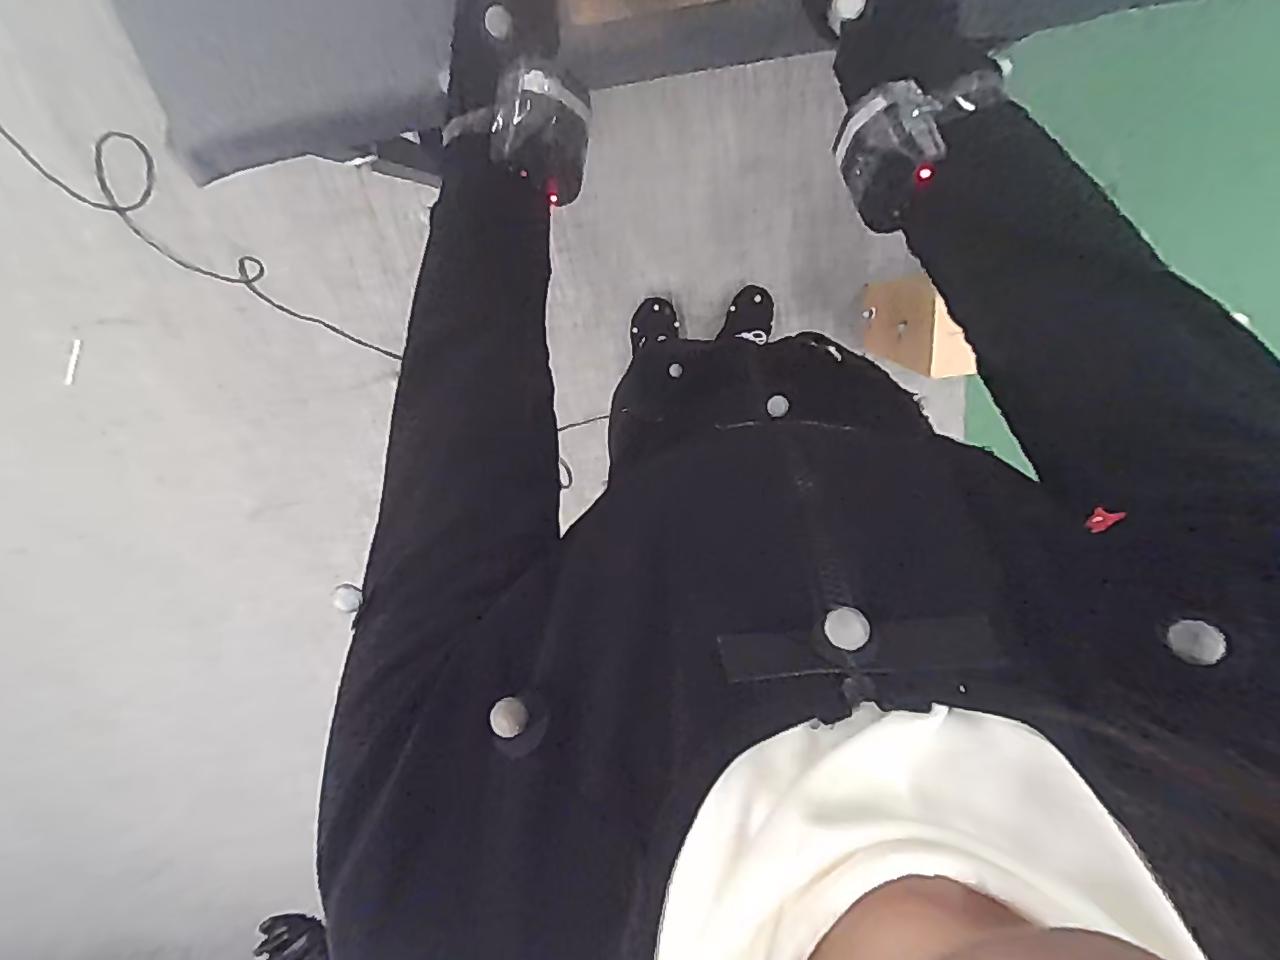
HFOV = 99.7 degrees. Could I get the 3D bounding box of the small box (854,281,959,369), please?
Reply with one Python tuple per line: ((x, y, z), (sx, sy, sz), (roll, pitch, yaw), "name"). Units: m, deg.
((0.615, -0.362, 1.247), (0.179, 0.176, 0.168), (-6, 112, 4), "small box")
